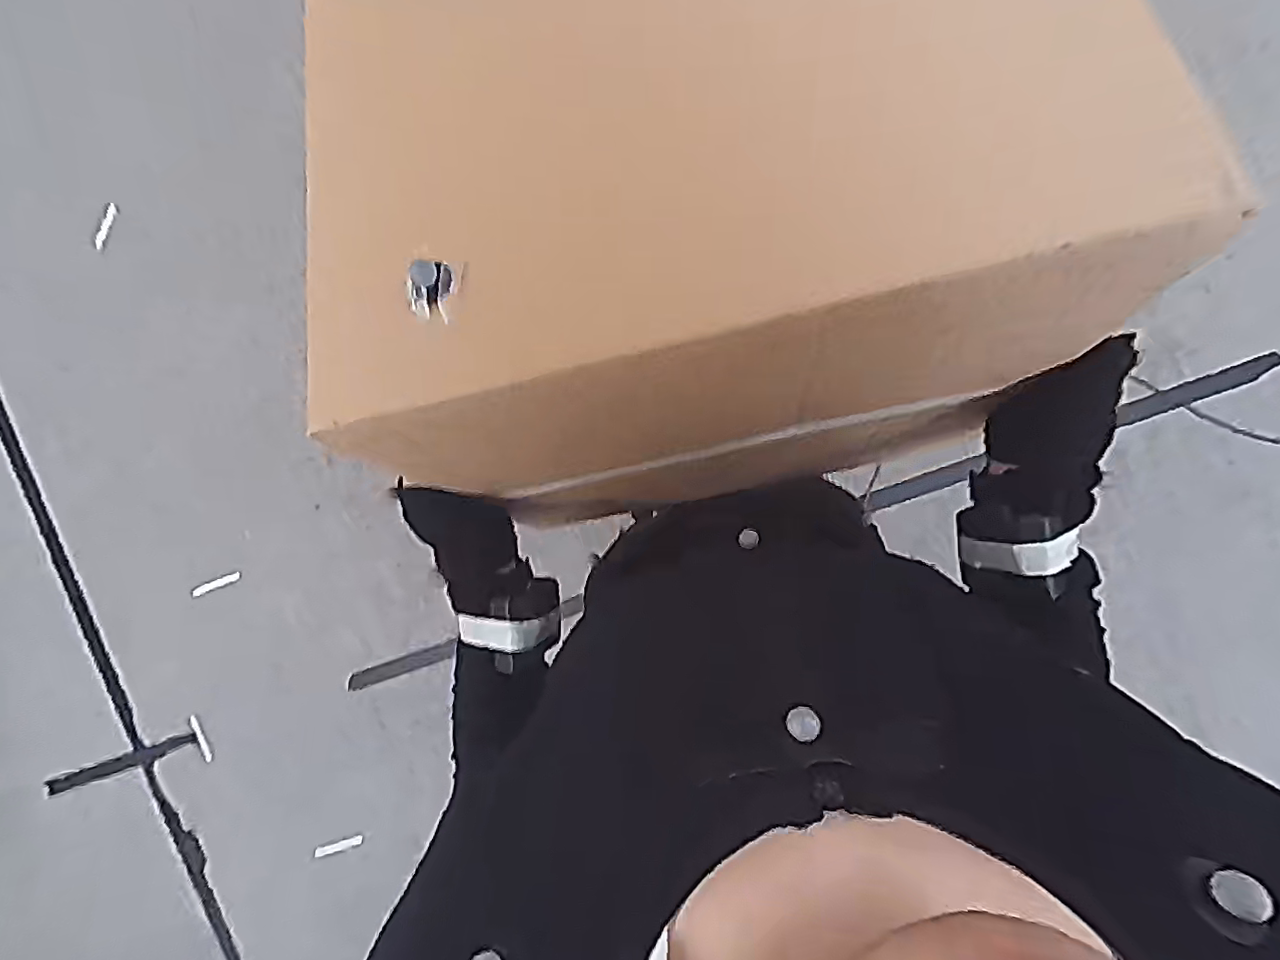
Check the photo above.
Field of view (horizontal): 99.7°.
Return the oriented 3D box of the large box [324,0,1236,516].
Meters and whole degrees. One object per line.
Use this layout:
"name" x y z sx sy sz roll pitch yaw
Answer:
"large box" 0.041 -0.182 0.416 0.408 0.320 0.320 -12 76 7
